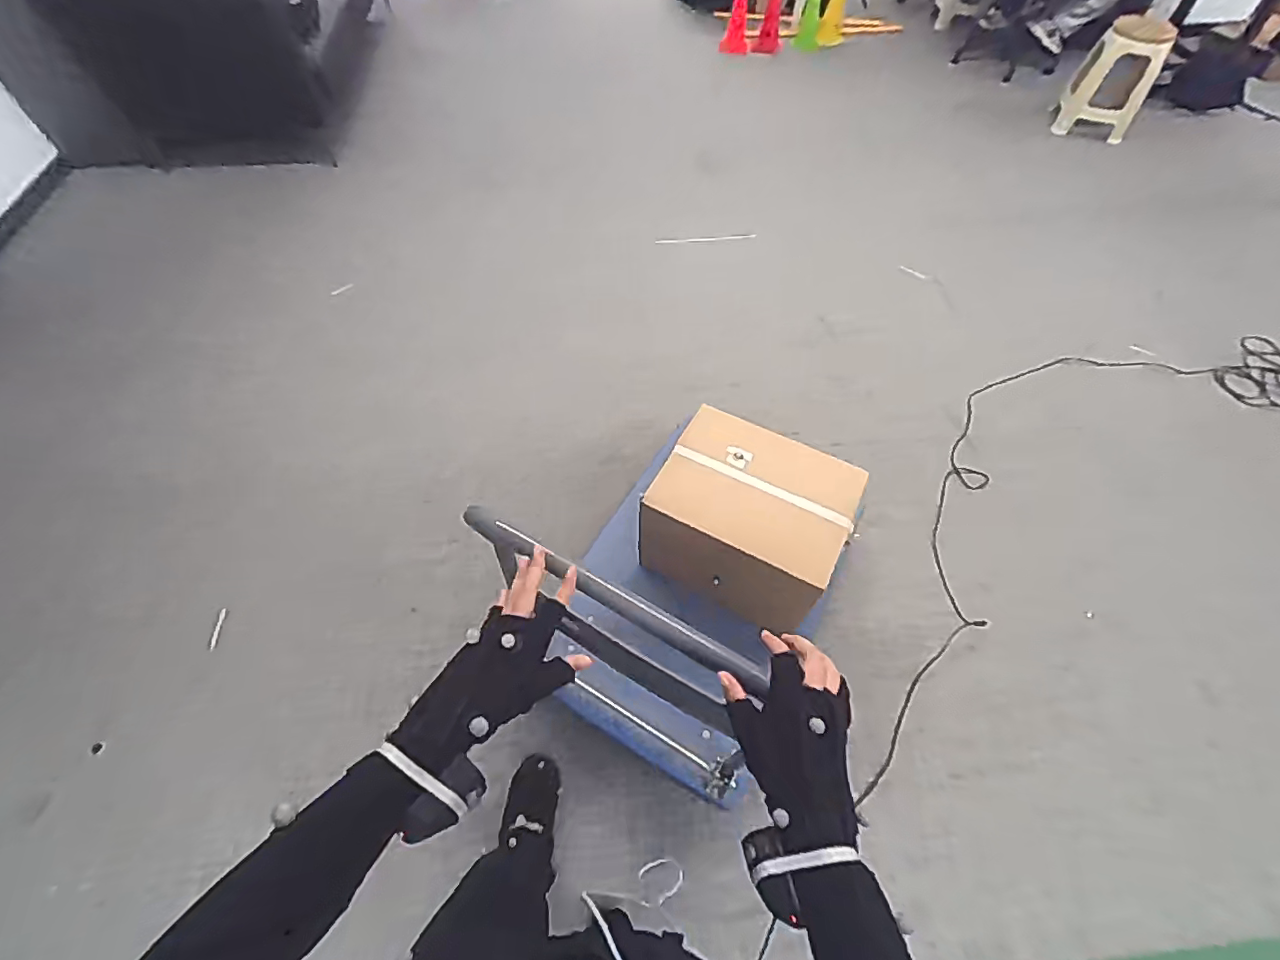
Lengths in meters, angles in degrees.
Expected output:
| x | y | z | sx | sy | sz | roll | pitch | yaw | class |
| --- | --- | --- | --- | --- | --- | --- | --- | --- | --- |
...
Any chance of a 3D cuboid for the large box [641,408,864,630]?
| x | y | z | sx | sy | sz | roll | pitch | yaw | class |
| --- | --- | --- | --- | --- | --- | --- | --- | --- | --- |
| 0.249 | 0.096 | 1.281 | 0.408 | 0.320 | 0.320 | 24 | 59 | 16 | large box |
